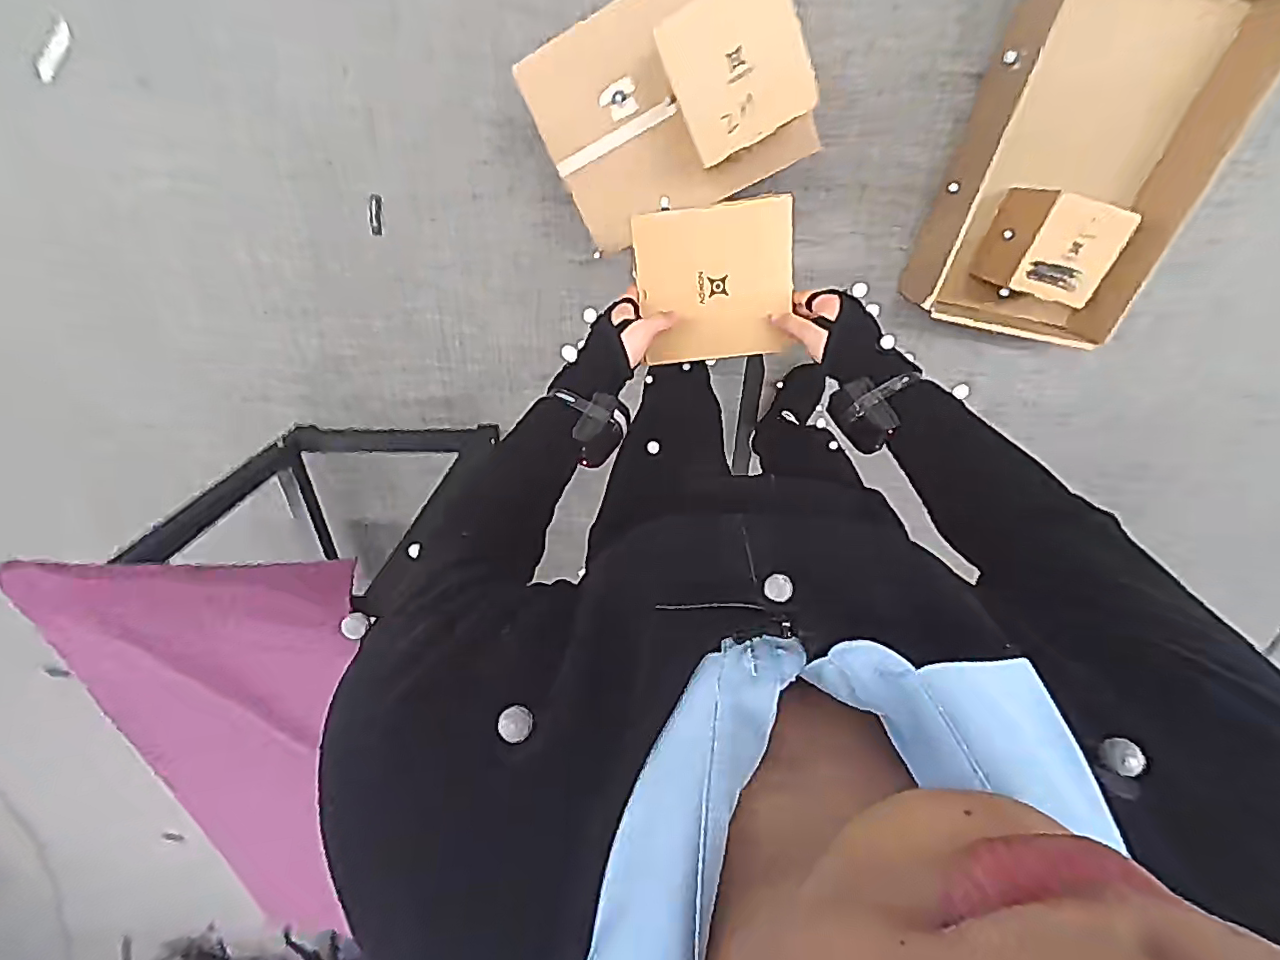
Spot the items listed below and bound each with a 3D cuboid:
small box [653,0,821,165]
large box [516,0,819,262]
[{"bbox_3d":[0.127,-0.564,0.747,0.168,0.176,0.179,-22,118,16],"label":"small box"},{"bbox_3d":[0.055,-0.660,0.981,0.408,0.320,0.320,-21,117,16],"label":"large box"}]
